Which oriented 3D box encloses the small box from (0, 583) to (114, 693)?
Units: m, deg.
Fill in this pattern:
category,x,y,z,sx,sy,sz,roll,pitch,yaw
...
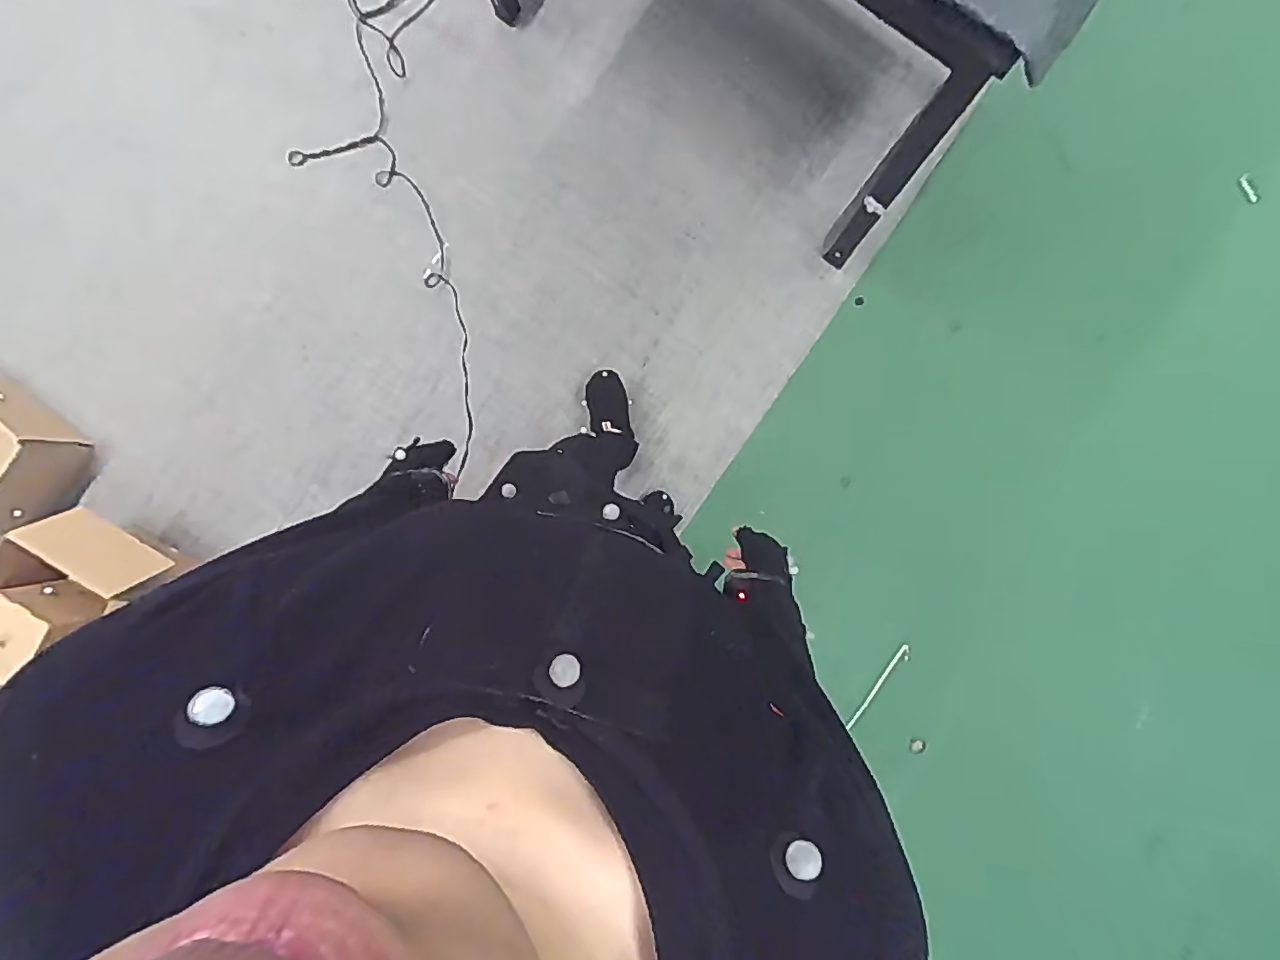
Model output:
category,x,y,z,sx,sy,sz,roll,pitch,yaw
small box,-1.427,0.364,1.289,0.168,0.176,0.179,29,90,4
